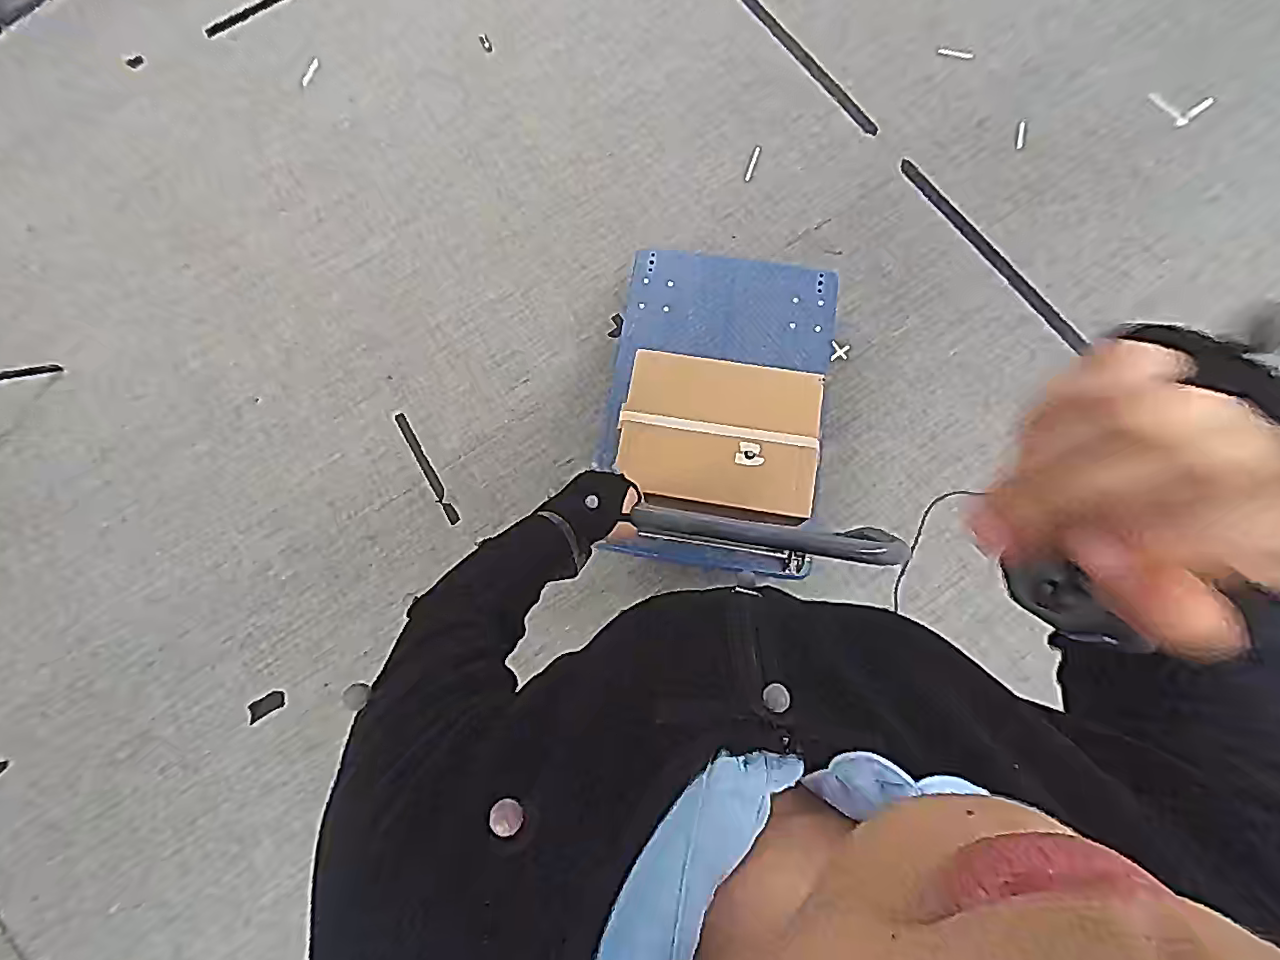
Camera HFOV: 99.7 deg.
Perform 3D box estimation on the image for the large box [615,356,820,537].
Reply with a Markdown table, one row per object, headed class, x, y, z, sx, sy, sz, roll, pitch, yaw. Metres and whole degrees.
| class | x | y | z | sx | sy | sz | roll | pitch | yaw |
| --- | --- | --- | --- | --- | --- | --- | --- | --- | --- |
| large box | 0.166 | -0.062 | 1.267 | 0.408 | 0.320 | 0.320 | 9 | 78 | 3 |
